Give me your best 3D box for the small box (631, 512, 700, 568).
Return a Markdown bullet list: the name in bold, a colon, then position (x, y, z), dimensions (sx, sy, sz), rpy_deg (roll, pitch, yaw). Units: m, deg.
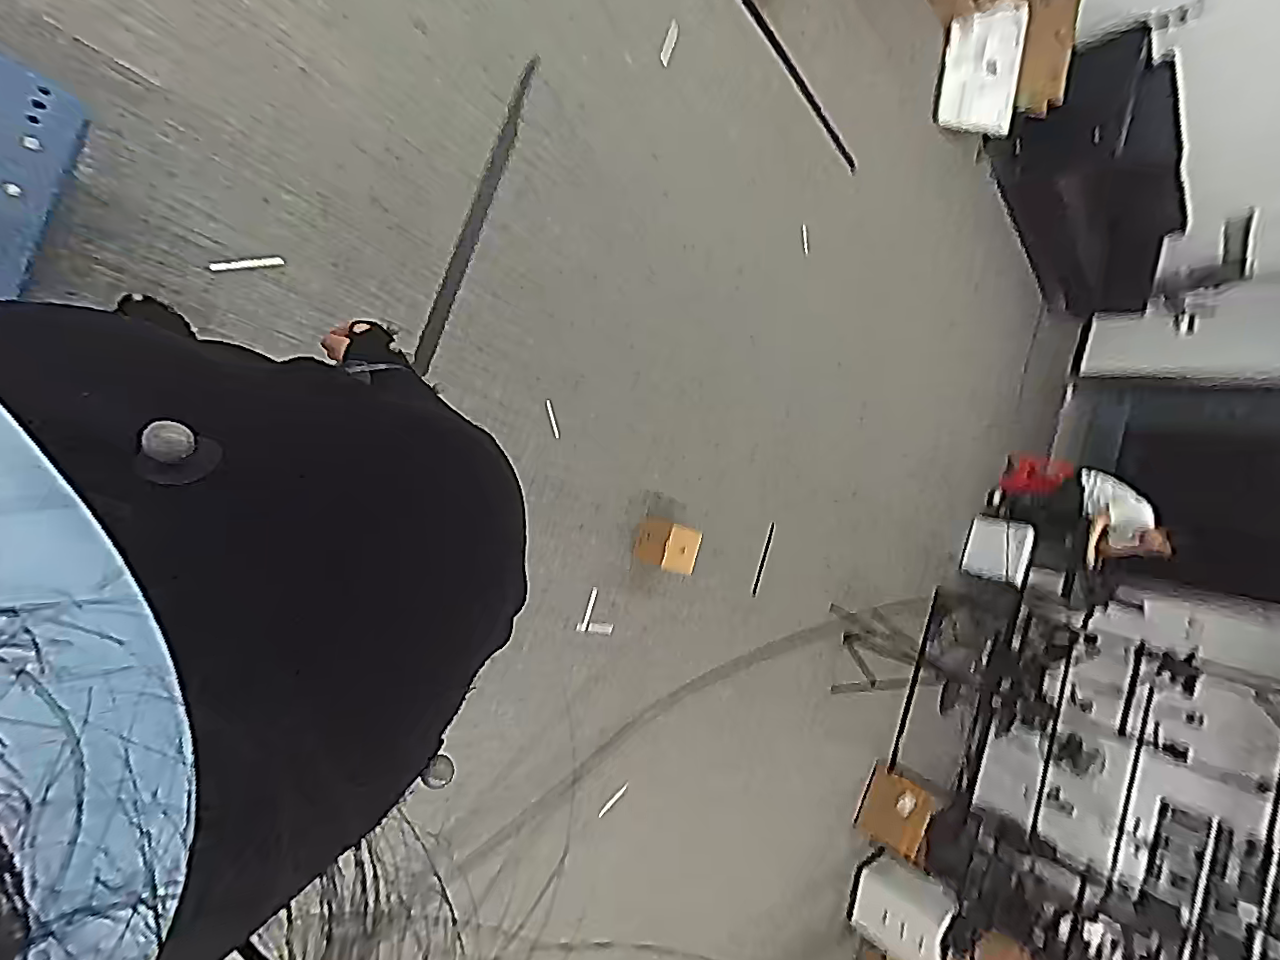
- **small box**: position (0.098, 0.230, 2.091), dimensions (0.179, 0.176, 0.168), rpy_deg (19, 85, -42)
